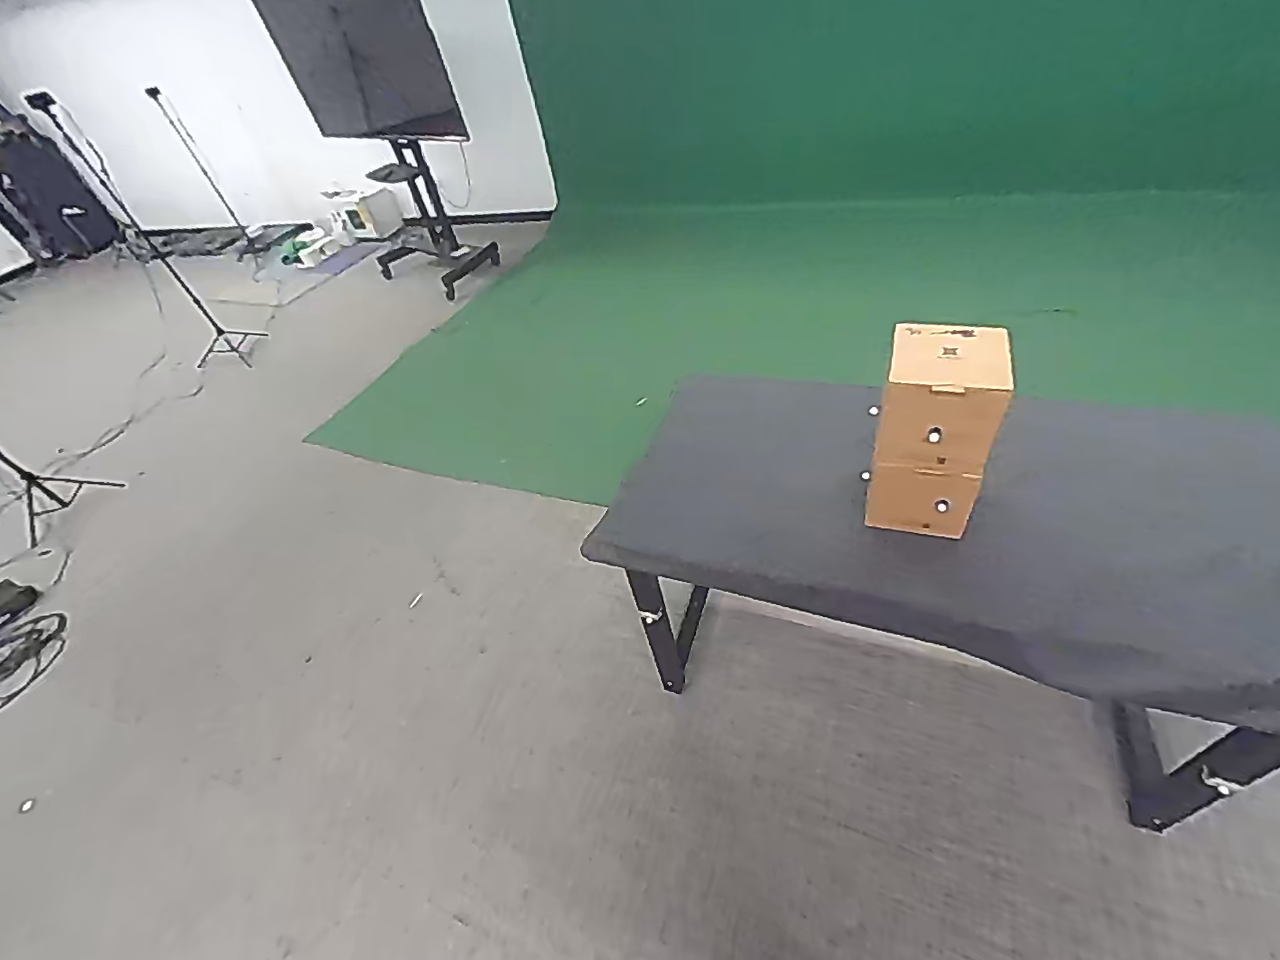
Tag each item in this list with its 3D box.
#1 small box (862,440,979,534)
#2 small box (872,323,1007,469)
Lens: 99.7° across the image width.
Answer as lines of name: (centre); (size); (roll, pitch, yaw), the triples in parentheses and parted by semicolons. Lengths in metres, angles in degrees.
small box: (0.520, -0.022, 1.017); (0.168, 0.176, 0.179); (9, 47, 20)
small box: (0.493, -0.140, 0.906); (0.168, 0.176, 0.179); (11, 50, 20)
